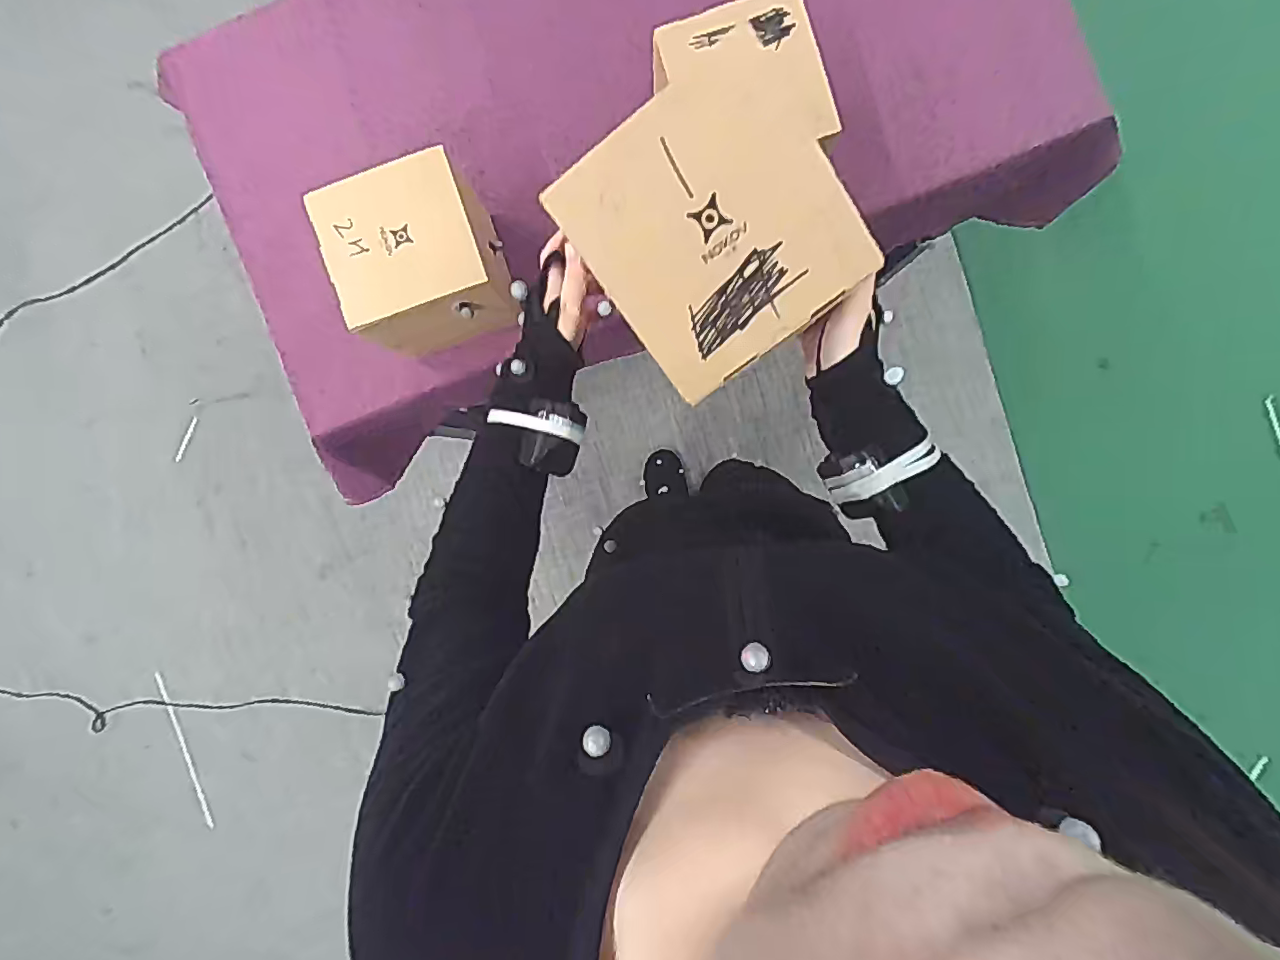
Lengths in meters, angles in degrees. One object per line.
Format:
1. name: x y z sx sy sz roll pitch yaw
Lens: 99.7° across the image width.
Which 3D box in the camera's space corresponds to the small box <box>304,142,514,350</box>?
1. small box: -0.276 -0.284 0.697 0.179 0.176 0.168 -18 90 4
